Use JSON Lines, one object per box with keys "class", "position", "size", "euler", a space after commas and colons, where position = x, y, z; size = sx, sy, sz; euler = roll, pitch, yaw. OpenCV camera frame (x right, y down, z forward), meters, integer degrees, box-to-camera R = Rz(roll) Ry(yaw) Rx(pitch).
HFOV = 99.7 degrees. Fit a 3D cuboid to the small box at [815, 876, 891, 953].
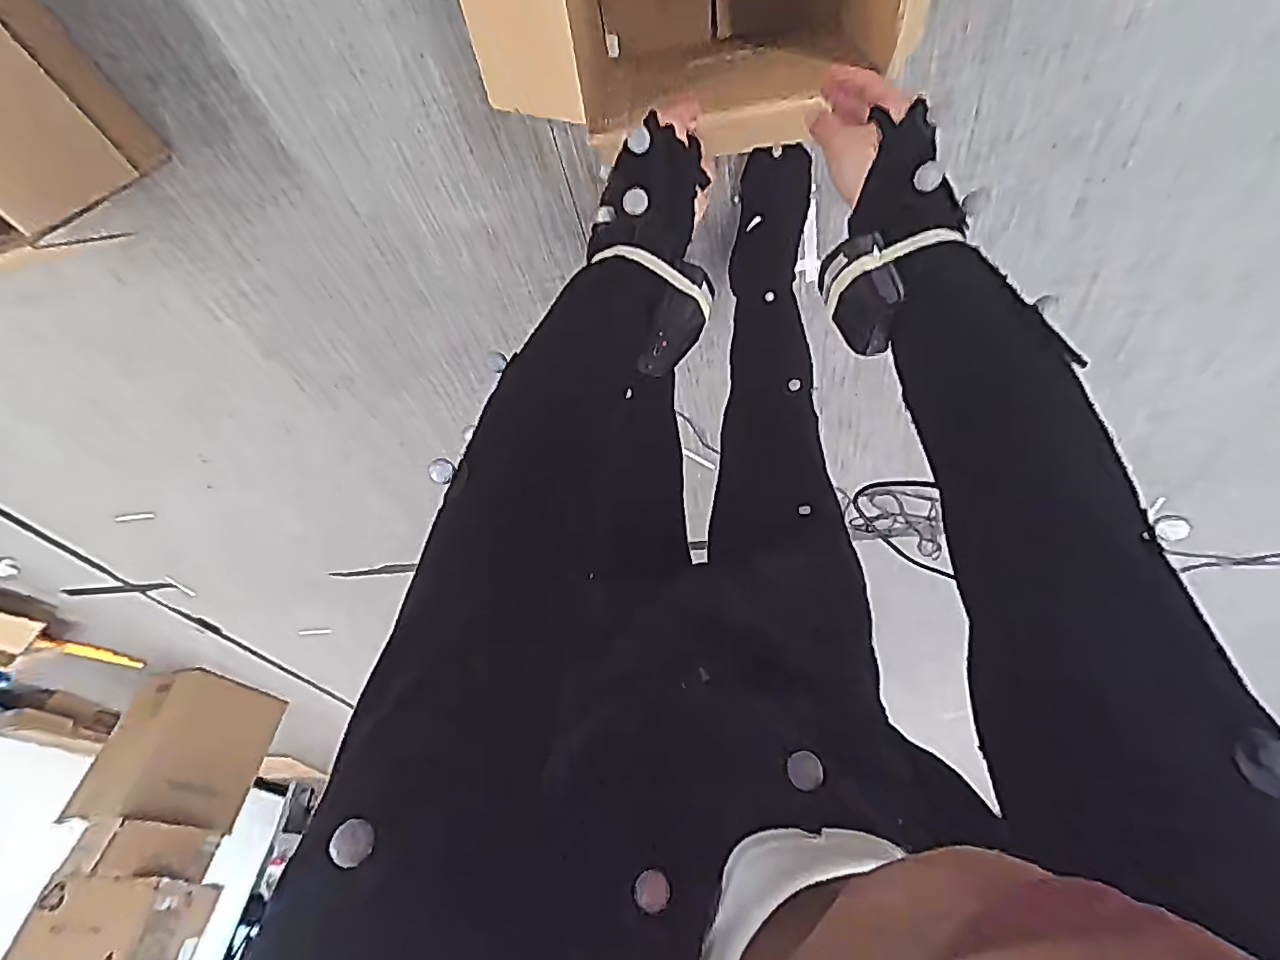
{"class": "small box", "position": [0.643, 1.332, 1.656], "size": [0.168, 0.176, 0.179], "euler": [-1, 137, 5]}
